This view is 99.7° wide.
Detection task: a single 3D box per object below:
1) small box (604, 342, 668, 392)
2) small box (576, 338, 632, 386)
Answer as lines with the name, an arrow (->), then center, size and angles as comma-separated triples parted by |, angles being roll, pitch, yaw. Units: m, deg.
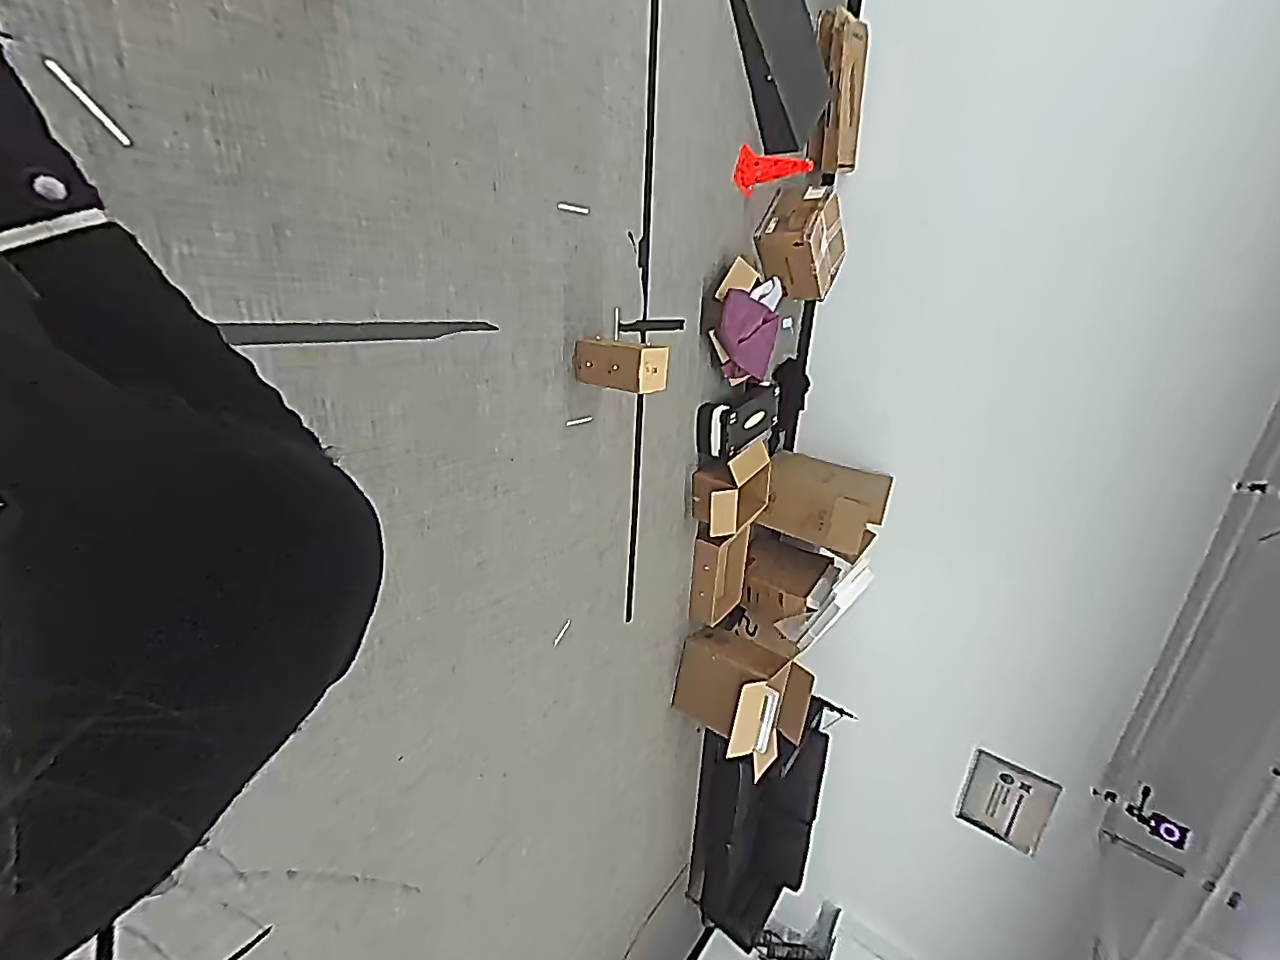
small box -> -0.016, -0.438, 2.079 | 0.179, 0.176, 0.168 | -20, 120, -49
small box -> -0.143, -0.479, 2.178 | 0.179, 0.176, 0.168 | -22, 122, -48
